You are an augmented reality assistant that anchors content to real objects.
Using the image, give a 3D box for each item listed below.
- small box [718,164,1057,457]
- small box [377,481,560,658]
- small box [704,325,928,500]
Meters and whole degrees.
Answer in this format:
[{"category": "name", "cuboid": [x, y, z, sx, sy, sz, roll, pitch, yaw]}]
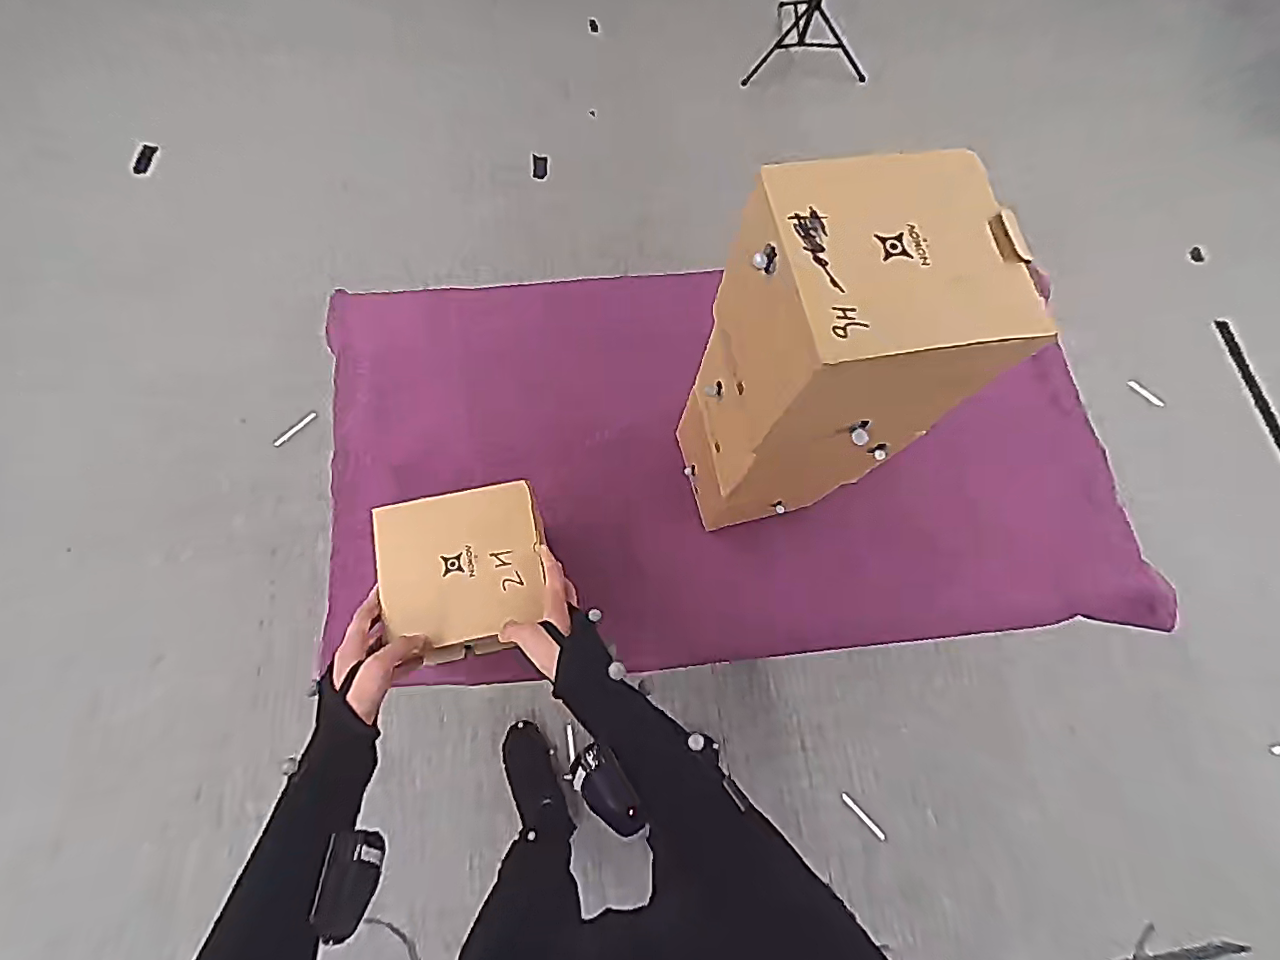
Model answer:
[{"category": "small box", "cuboid": [0.181, -0.130, 0.455, 0.179, 0.176, 0.168, -8, 72, -8]}, {"category": "small box", "cuboid": [-0.200, 0.117, 0.662, 0.179, 0.176, 0.168, -10, 71, -9]}, {"category": "small box", "cuboid": [0.177, -0.083, 0.613, 0.179, 0.176, 0.168, -8, 73, -7]}]
